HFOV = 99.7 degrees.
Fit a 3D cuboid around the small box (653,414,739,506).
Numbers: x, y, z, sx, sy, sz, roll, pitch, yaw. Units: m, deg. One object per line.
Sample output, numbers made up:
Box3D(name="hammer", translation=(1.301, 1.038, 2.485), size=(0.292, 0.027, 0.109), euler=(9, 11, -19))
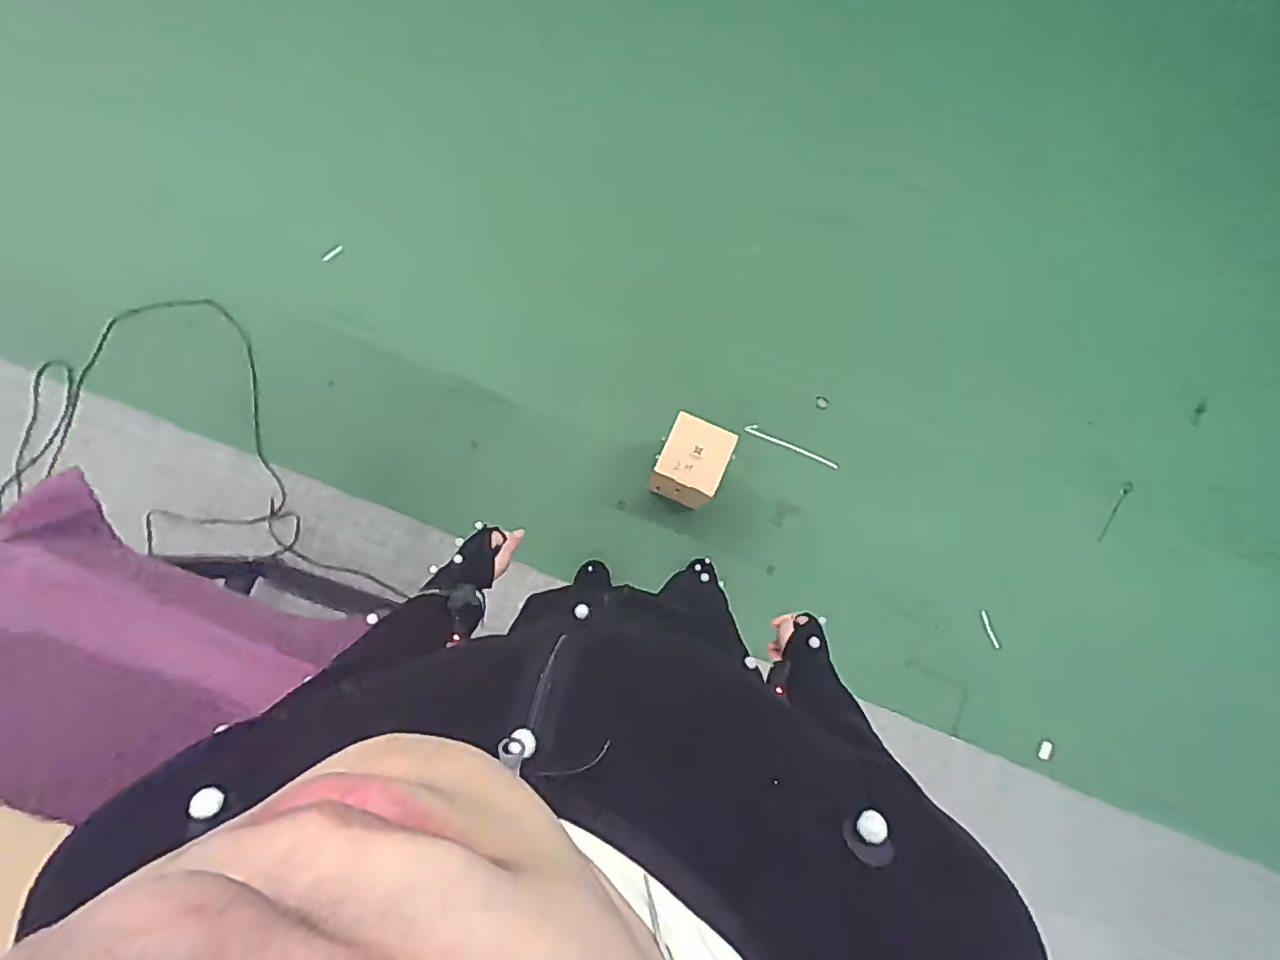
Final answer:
Box3D(name="small box", translation=(0.141, -0.047, 1.441), size=(0.168, 0.176, 0.179), euler=(25, 81, 2))
